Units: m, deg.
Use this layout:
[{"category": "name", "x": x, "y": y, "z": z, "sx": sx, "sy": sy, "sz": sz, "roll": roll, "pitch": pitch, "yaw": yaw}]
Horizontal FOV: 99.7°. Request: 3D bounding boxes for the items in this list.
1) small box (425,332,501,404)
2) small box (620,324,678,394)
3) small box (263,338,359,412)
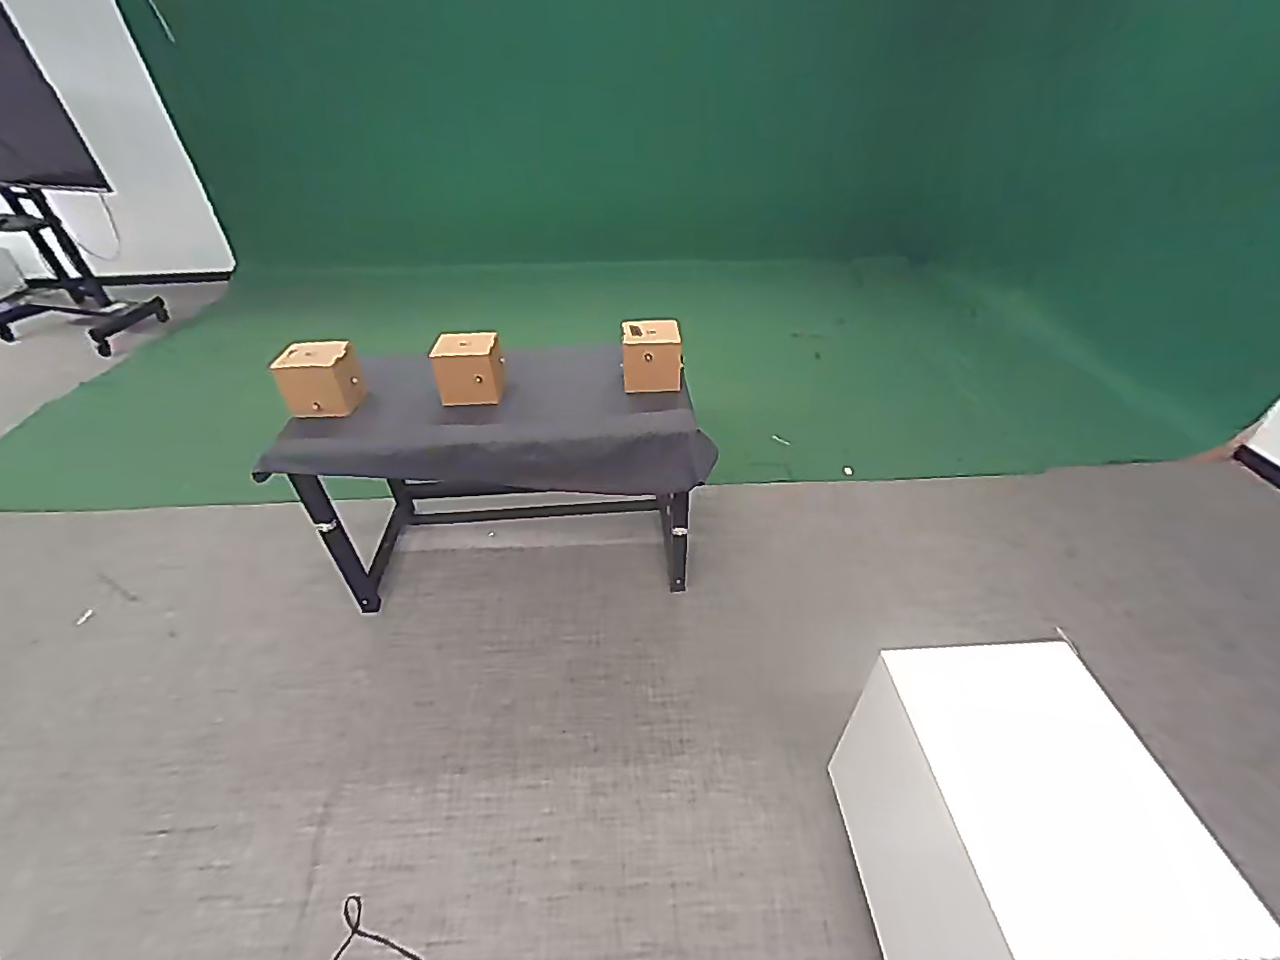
[{"category": "small box", "x": -0.538, "y": -0.346, "z": 1.673, "sx": 0.179, "sy": 0.176, "sz": 0.168, "roll": -3, "pitch": 37, "yaw": -2}, {"category": "small box", "x": 0.025, "y": -0.384, "z": 1.720, "sx": 0.179, "sy": 0.176, "sz": 0.168, "roll": -1, "pitch": 39, "yaw": -2}, {"category": "small box", "x": -0.973, "y": -0.313, "z": 1.620, "sx": 0.179, "sy": 0.176, "sz": 0.168, "roll": -1, "pitch": 38, "yaw": -4}]
